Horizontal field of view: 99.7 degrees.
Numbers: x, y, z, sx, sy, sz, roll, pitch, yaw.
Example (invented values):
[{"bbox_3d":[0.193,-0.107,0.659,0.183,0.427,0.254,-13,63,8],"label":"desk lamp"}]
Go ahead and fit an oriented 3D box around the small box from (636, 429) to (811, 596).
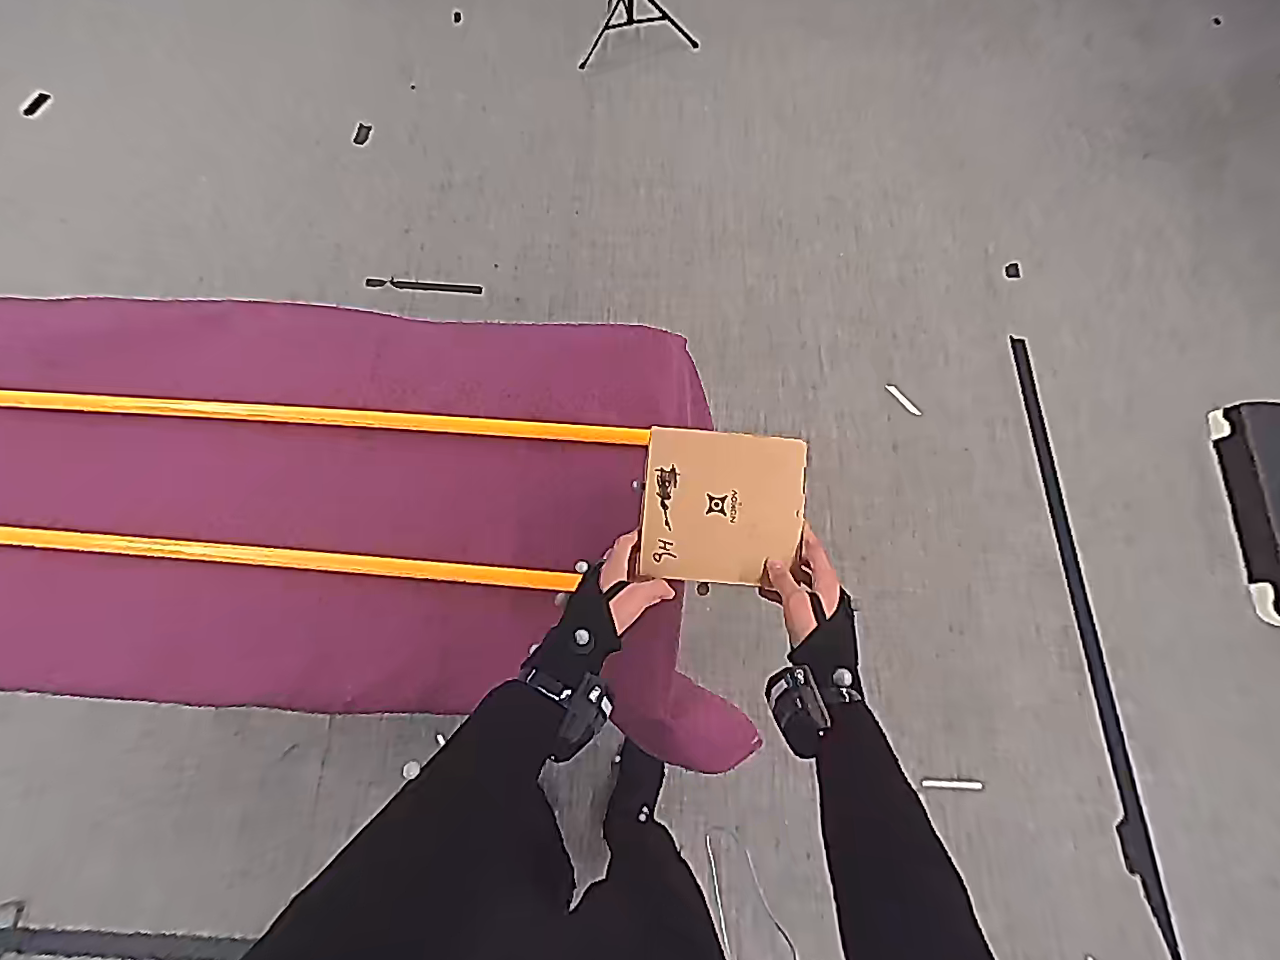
[{"bbox_3d":[0.092,0.045,0.660,0.179,0.176,0.168,6,80,0],"label":"small box"}]
